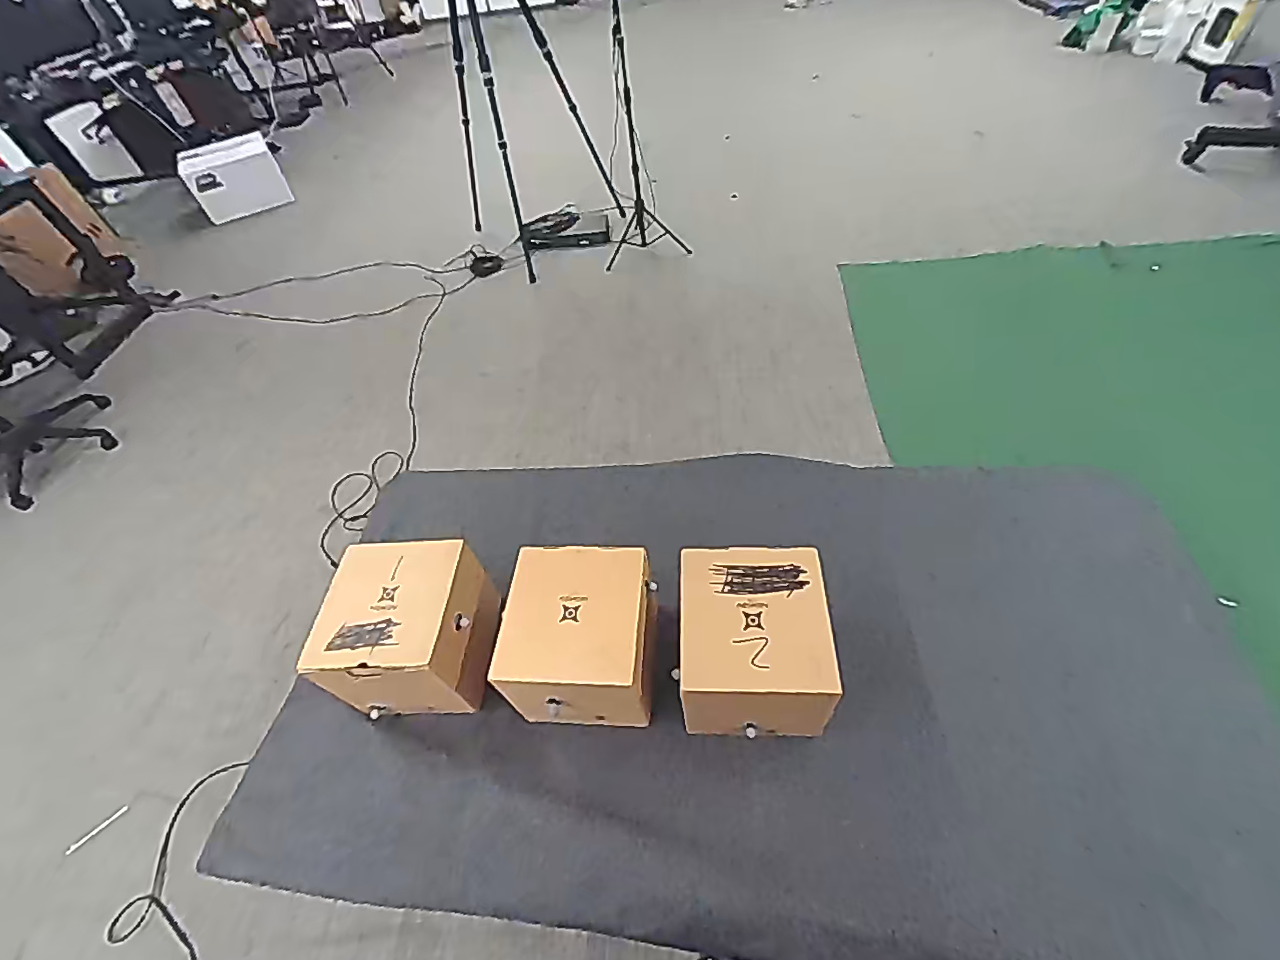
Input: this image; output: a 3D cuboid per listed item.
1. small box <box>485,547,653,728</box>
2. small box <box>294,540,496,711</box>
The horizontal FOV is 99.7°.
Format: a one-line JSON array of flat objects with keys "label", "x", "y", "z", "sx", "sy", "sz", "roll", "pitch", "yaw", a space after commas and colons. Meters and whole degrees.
[{"label": "small box", "x": -0.075, "y": 0.204, "z": 0.693, "sx": 0.168, "sy": 0.176, "sz": 0.179, "roll": 0, "pitch": 50, "yaw": 8}, {"label": "small box", "x": -0.308, "y": 0.201, "z": 0.727, "sx": 0.168, "sy": 0.176, "sz": 0.179, "roll": -3, "pitch": 50, "yaw": 5}]
